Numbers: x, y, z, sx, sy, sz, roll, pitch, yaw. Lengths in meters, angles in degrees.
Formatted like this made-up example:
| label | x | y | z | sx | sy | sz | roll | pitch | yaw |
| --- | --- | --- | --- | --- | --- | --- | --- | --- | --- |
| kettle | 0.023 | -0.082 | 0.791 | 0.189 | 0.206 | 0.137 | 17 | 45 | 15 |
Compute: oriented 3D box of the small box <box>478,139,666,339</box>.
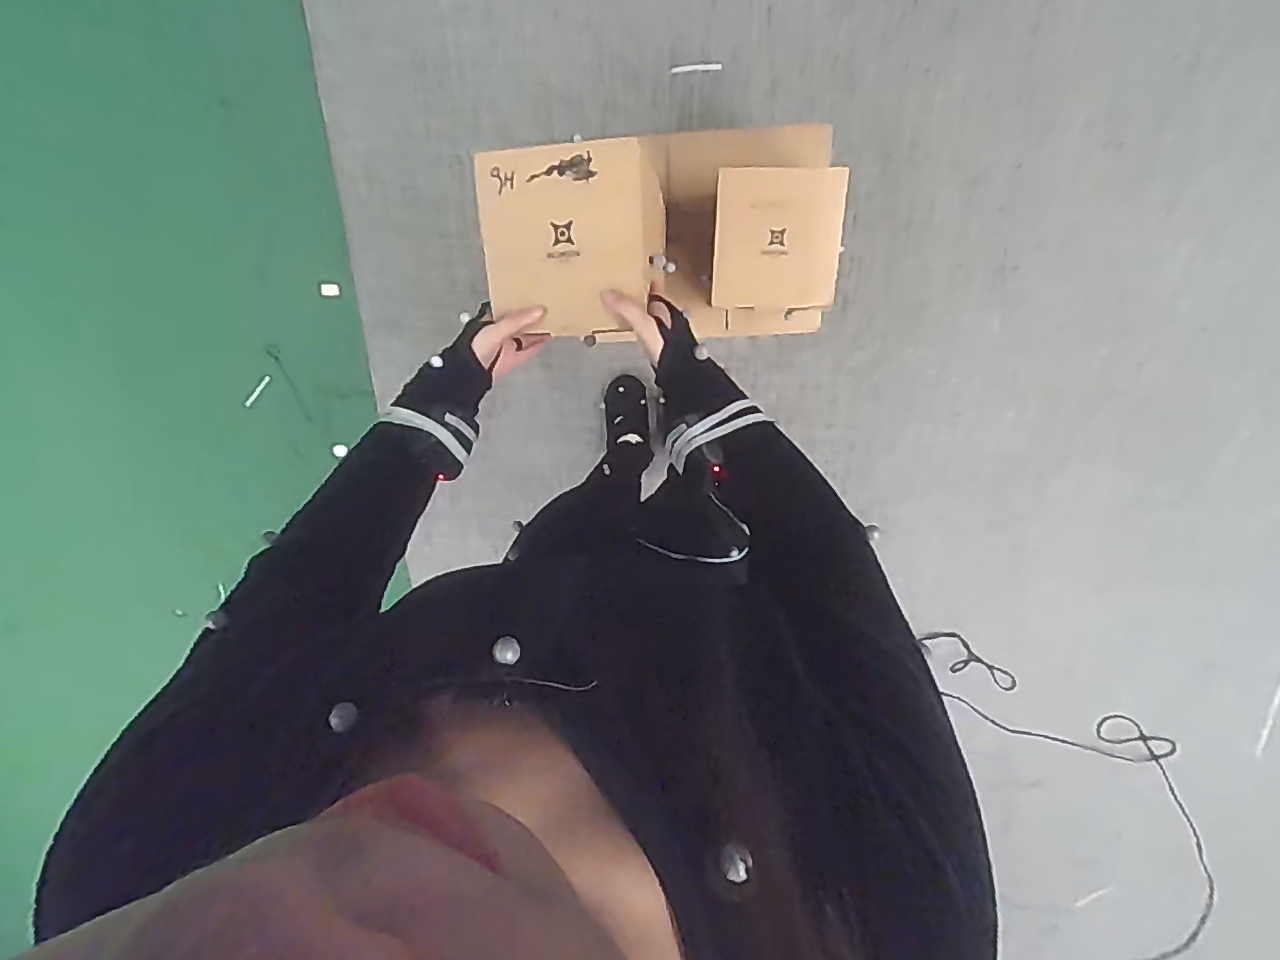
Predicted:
| label | x | y | z | sx | sy | sz | roll | pitch | yaw |
| --- | --- | --- | --- | --- | --- | --- | --- | --- | --- |
| small box | -0.061 | -0.257 | 0.611 | 0.168 | 0.176 | 0.179 | -1 | 107 | 9 |

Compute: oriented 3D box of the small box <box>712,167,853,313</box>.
| label | x | y | z | sx | sy | sz | roll | pitch | yaw |
| --- | --- | --- | --- | --- | --- | --- | --- | --- | --- |
| small box | 0.194 | -0.338 | 0.785 | 0.168 | 0.176 | 0.179 | 3 | 108 | 5 |
